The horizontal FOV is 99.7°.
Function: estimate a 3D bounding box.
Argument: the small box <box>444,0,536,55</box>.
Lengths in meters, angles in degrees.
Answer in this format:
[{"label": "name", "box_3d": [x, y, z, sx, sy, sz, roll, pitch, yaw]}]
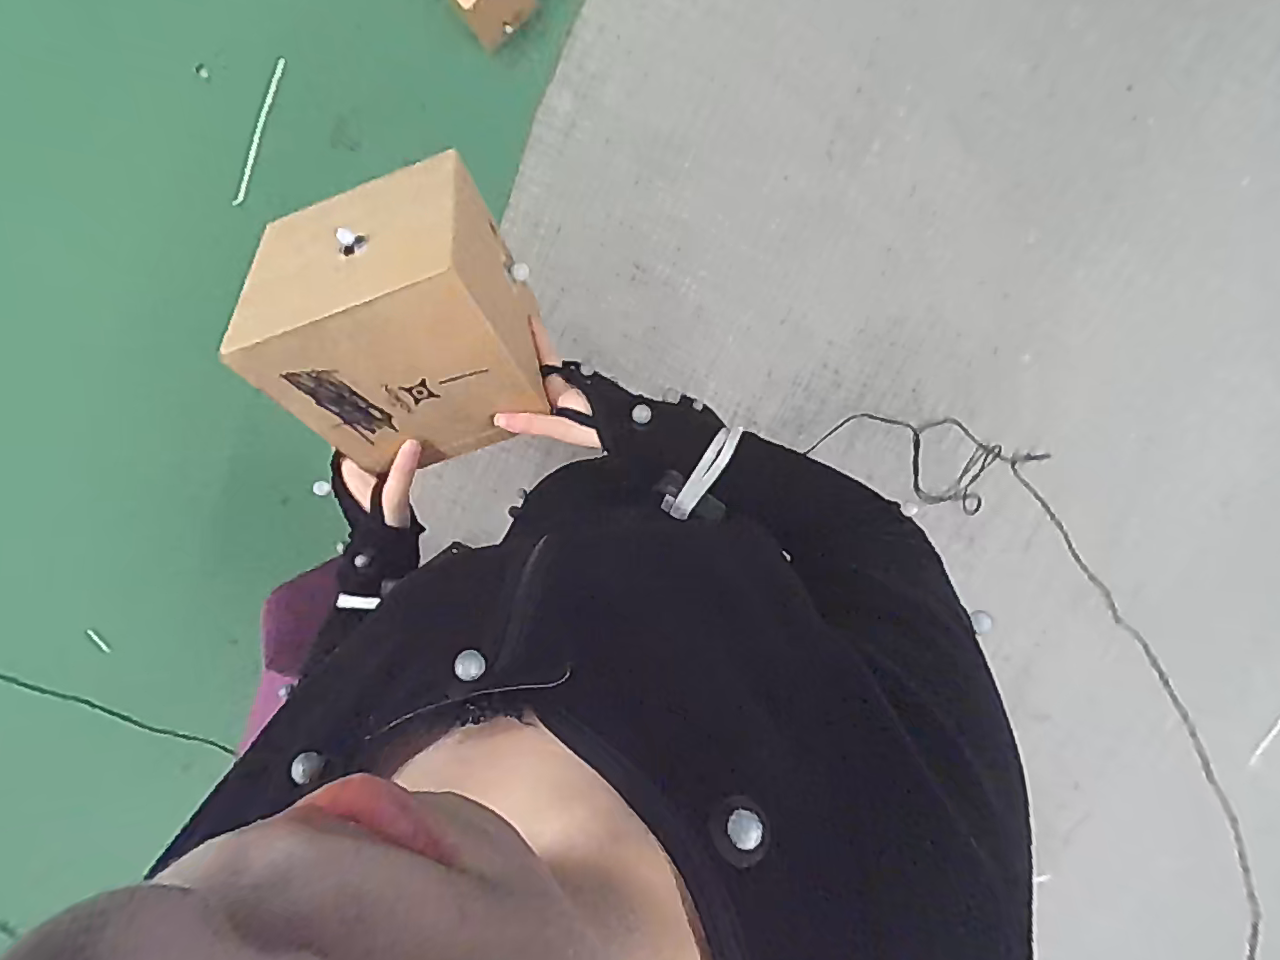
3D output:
[{"label": "small box", "box_3d": [-0.365, -1.135, 1.227, 0.168, 0.176, 0.179, -40, 96, 9]}]

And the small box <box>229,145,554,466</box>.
[{"label": "small box", "box_3d": [-0.187, -0.144, 0.461, 0.179, 0.168, 0.176, -17, 56, 6]}]
